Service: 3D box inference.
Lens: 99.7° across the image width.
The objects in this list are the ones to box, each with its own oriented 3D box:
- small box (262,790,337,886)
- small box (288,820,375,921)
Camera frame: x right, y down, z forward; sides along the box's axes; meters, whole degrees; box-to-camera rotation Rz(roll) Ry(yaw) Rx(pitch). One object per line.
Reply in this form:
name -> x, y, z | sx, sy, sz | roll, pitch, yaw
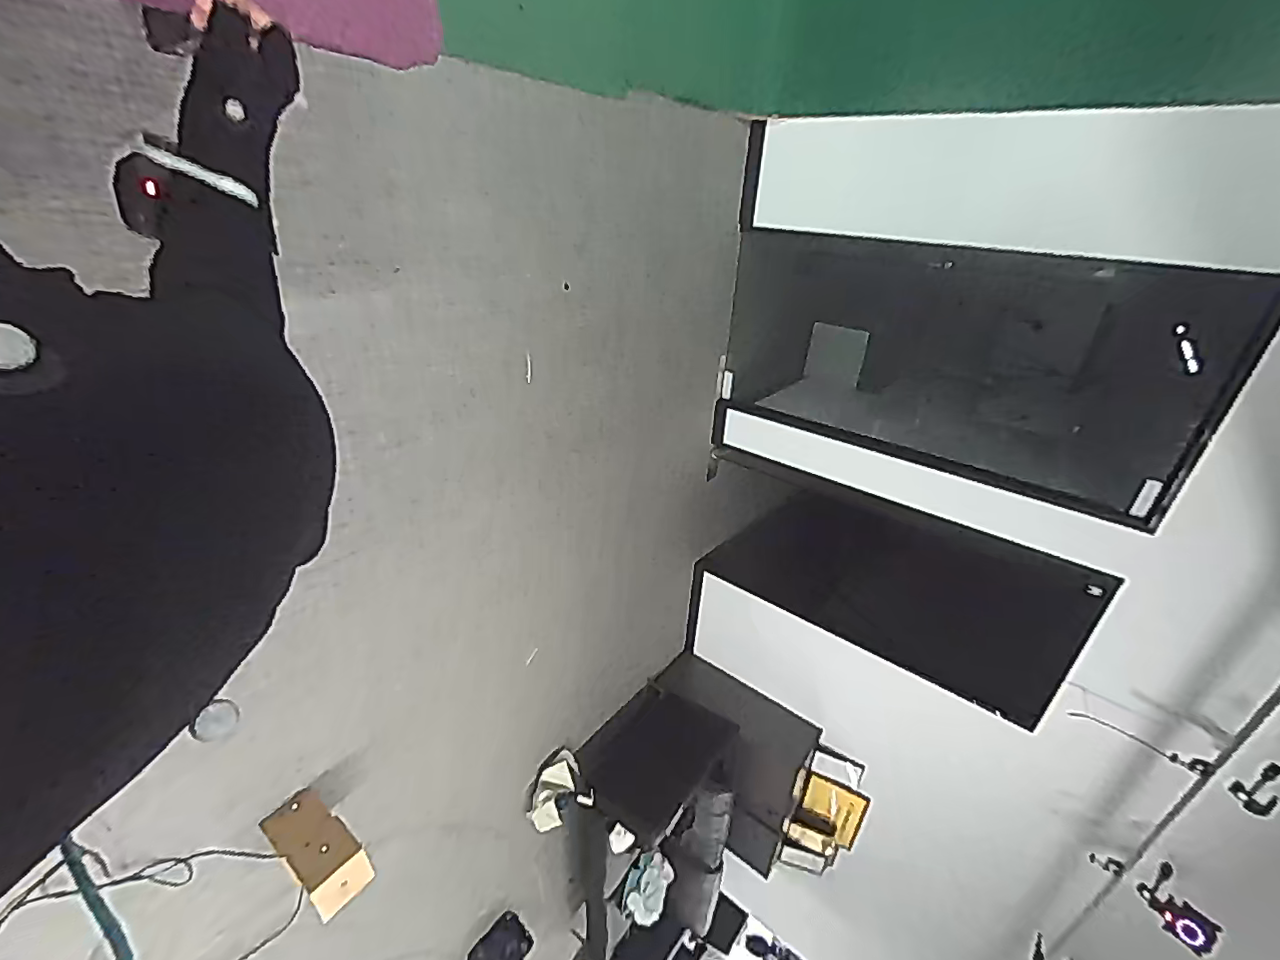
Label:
small box -> -1.113, 1.179, 1.794 | 0.168, 0.176, 0.179 | -32, 133, -44
small box -> -0.977, 1.225, 1.714 | 0.168, 0.176, 0.179 | -31, 133, -44
